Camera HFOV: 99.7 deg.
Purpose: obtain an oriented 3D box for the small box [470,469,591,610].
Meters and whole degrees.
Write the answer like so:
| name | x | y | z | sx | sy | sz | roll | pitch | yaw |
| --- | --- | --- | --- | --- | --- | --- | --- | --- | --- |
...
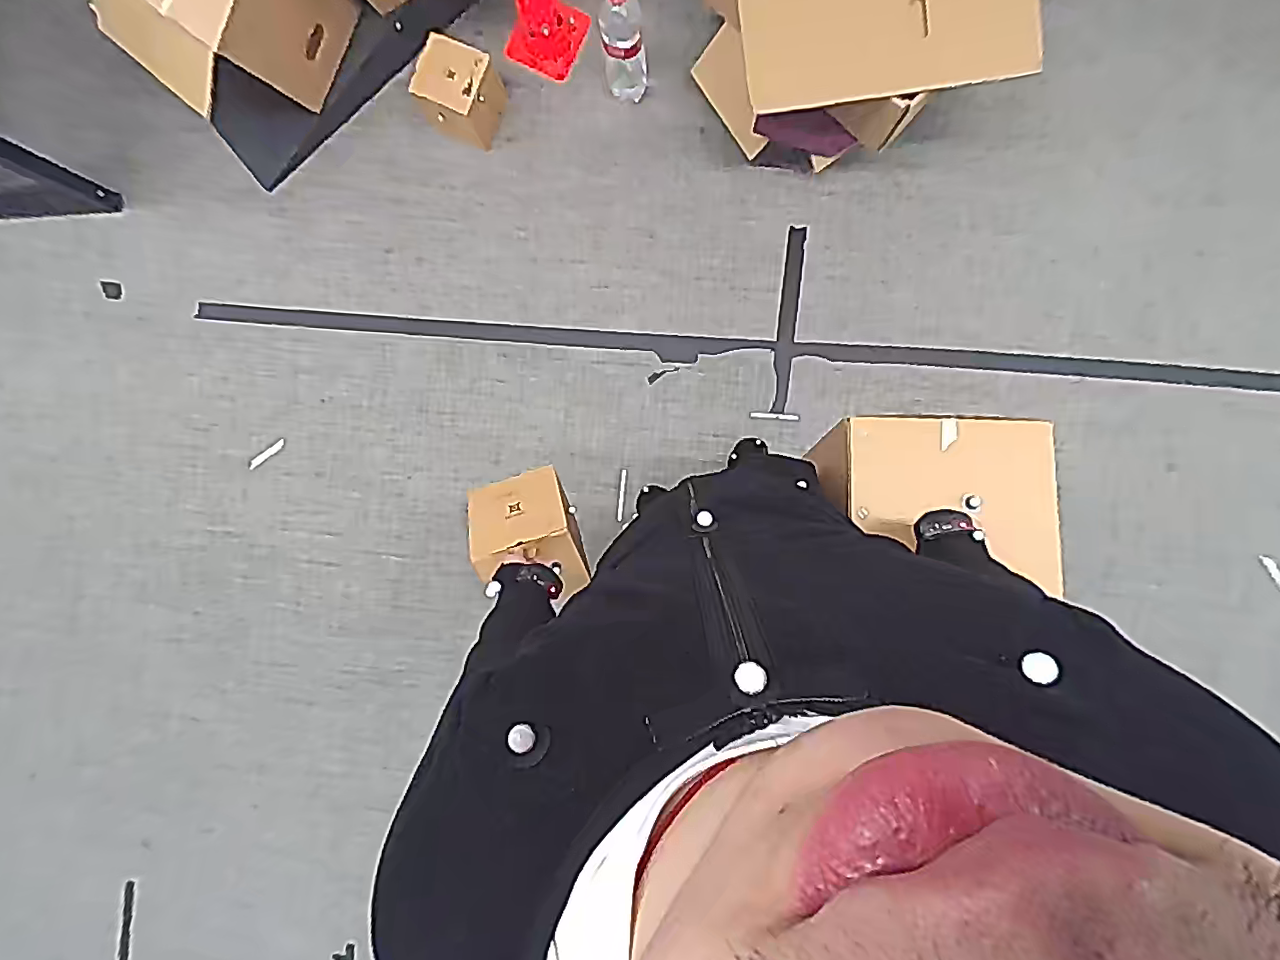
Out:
| name | x | y | z | sx | sy | sz | roll | pitch | yaw |
| --- | --- | --- | --- | --- | --- | --- | --- | --- | --- |
| small box | -0.198 | 0.116 | 0.989 | 0.168 | 0.179 | 0.176 | -18 | 131 | -4 |
